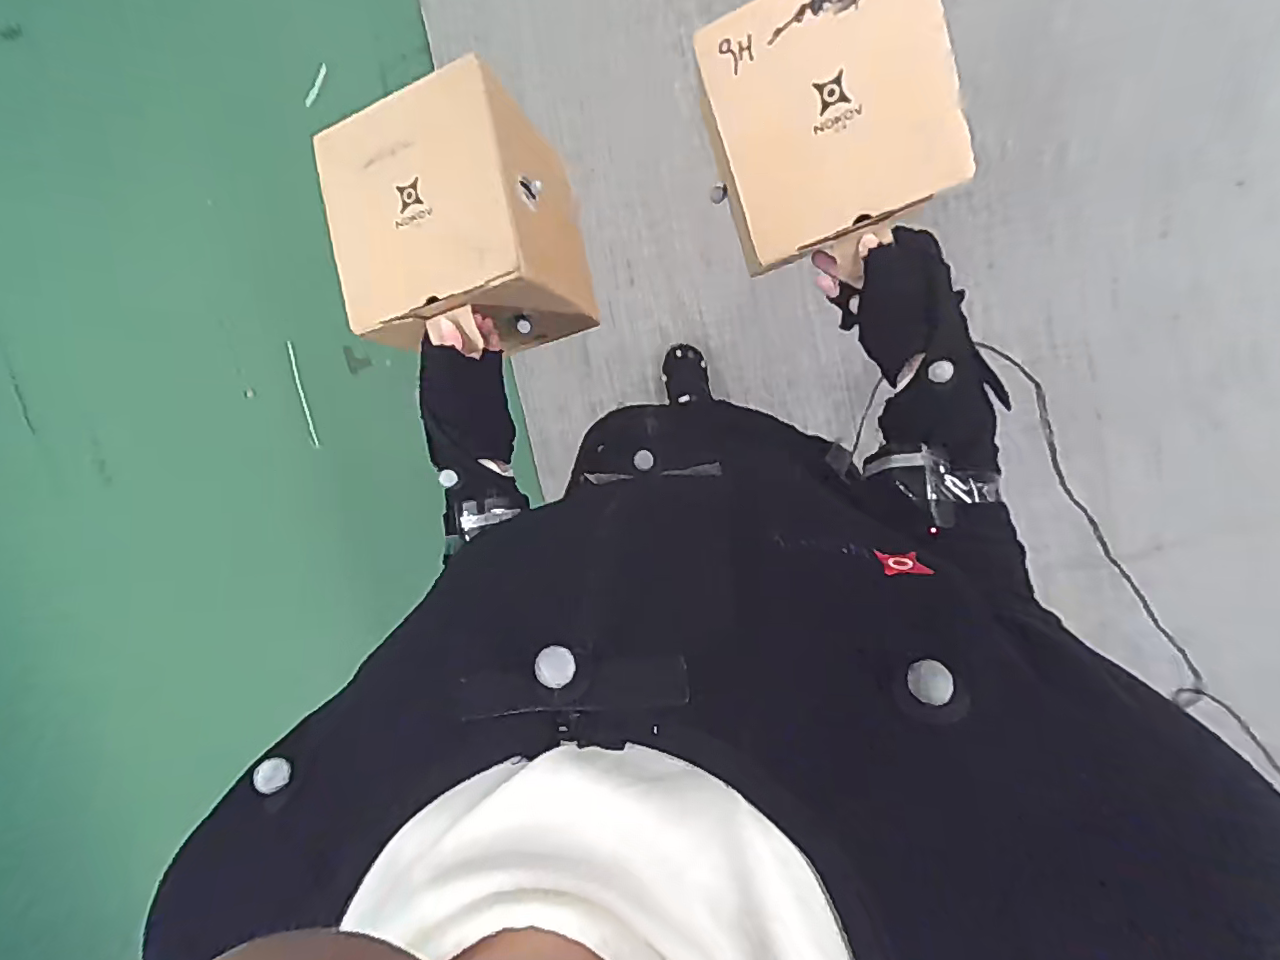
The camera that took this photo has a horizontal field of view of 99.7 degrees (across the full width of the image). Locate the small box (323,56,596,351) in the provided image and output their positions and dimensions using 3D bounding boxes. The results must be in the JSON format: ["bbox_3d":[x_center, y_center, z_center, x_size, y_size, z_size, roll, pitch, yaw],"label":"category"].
[{"bbox_3d":[-0.157,-0.232,0.515,0.168,0.176,0.179,-12,87,18],"label":"small box"}]
